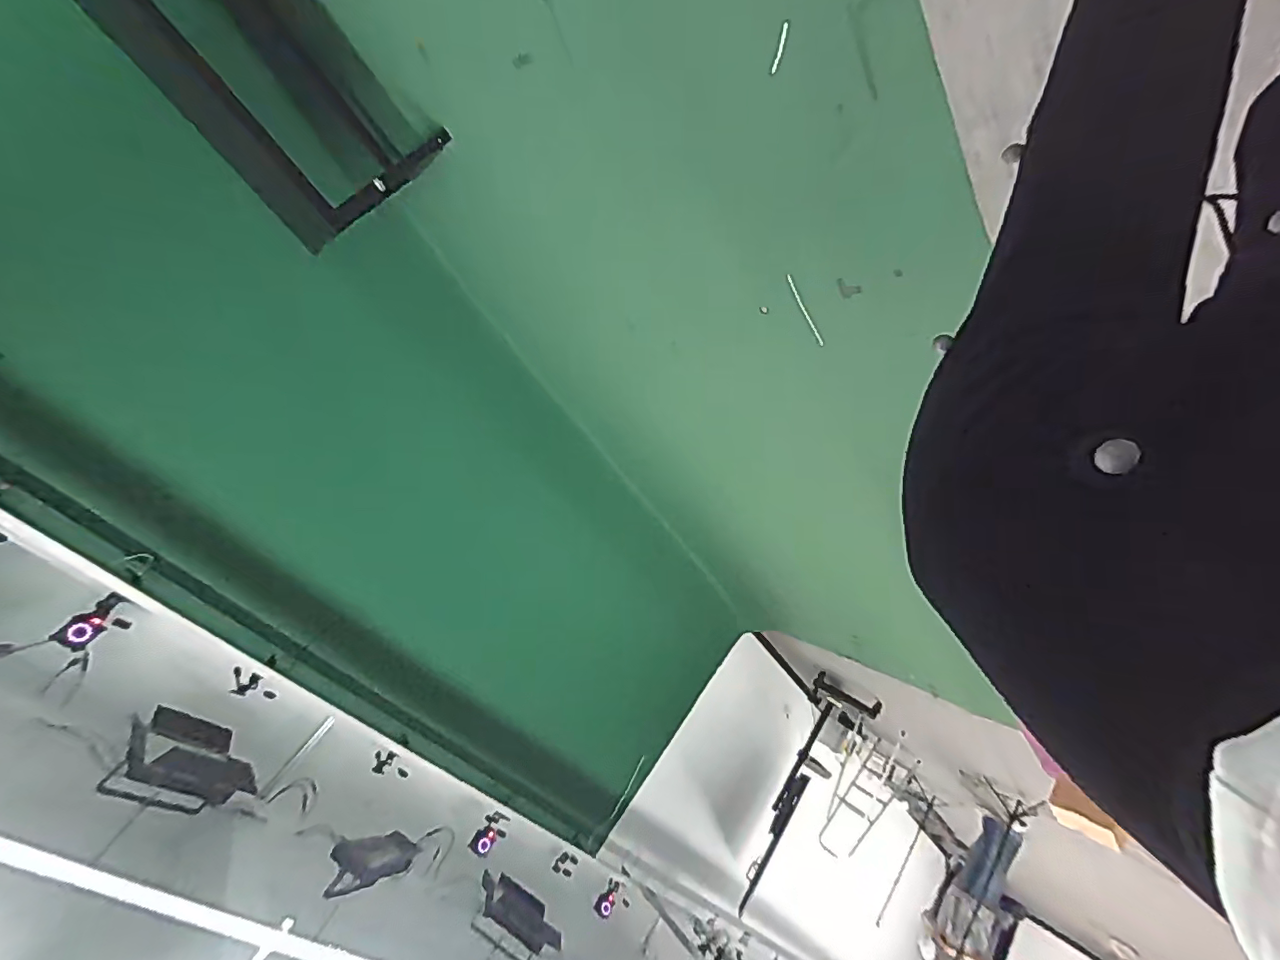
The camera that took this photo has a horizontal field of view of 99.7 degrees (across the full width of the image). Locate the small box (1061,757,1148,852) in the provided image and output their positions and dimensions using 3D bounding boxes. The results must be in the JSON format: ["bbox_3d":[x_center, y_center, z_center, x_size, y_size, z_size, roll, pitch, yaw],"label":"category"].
[{"bbox_3d":[1.477,1.023,1.718,0.179,0.176,0.168,51,158,-27],"label":"small box"}]
